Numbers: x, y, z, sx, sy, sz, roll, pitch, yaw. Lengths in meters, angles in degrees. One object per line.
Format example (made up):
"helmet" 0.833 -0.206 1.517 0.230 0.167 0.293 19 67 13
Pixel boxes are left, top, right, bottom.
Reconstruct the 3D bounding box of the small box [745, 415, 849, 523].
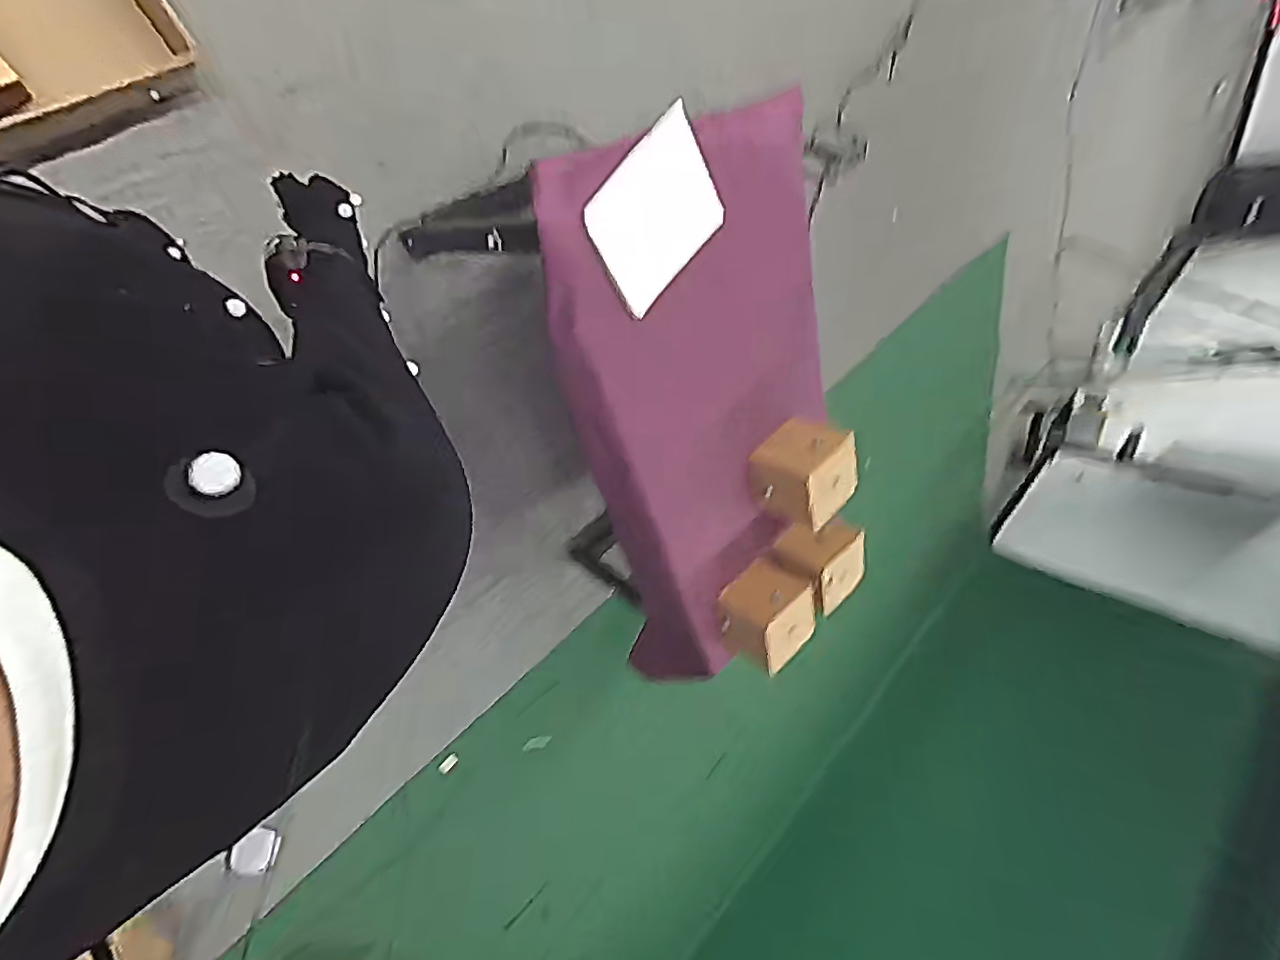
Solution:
"small box" 0.378 -0.034 1.299 0.179 0.176 0.168 -38 130 -23

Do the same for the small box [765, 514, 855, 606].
"small box" 0.466 0.202 1.483 0.179 0.176 0.168 -35 128 -27
